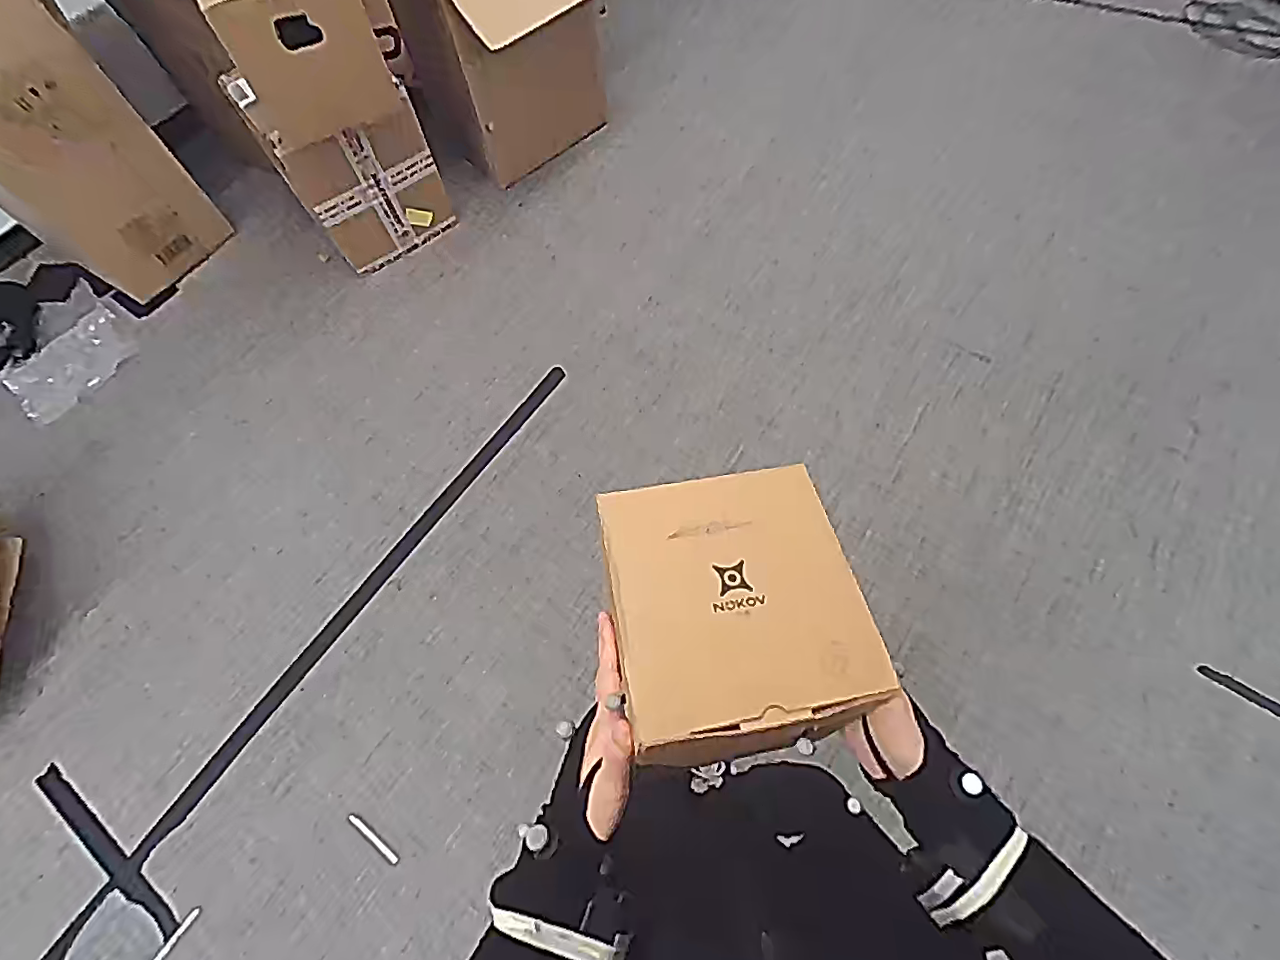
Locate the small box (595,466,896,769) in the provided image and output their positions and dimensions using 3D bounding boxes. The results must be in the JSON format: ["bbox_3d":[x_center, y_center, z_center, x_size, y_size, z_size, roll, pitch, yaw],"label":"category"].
[{"bbox_3d":[0.060,0.116,0.429,0.168,0.176,0.179,-8,55,-8],"label":"small box"}]
